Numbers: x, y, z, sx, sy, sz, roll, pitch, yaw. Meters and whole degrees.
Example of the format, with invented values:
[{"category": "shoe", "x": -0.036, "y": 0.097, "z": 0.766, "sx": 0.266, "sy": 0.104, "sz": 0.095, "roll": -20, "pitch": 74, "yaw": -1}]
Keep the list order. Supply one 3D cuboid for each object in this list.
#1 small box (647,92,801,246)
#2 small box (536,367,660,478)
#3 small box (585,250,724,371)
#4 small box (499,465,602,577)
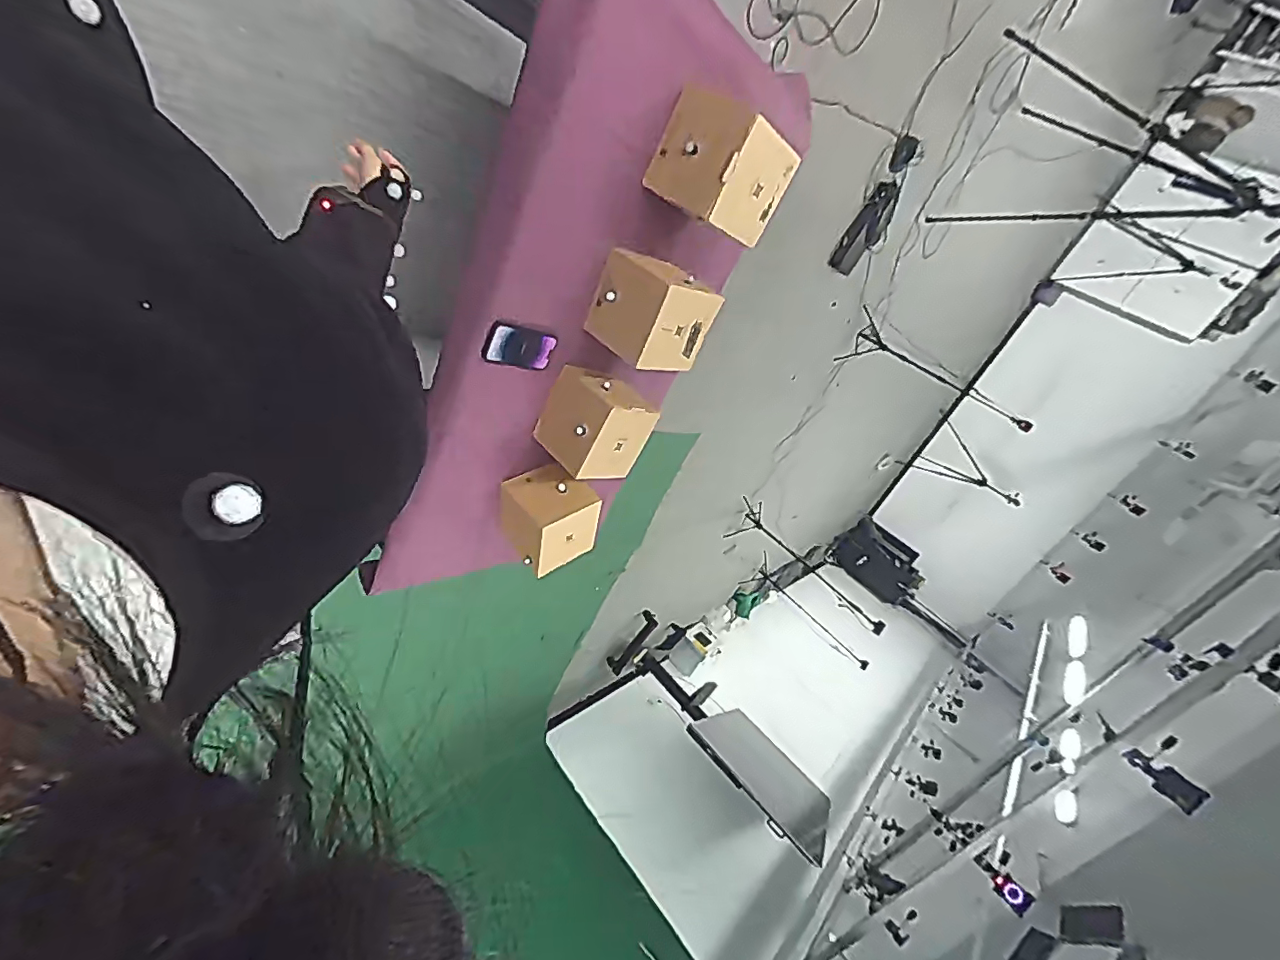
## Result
[{"category": "small box", "x": 0.143, "y": -0.544, "z": 0.949, "sx": 0.179, "sy": 0.176, "sz": 0.168, "roll": -4, "pitch": 130, "yaw": -52}, {"category": "small box", "x": -0.095, "y": -0.122, "z": 1.159, "sx": 0.168, "sy": 0.176, "sz": 0.179, "roll": -1, "pitch": 127, "yaw": -53}, {"category": "small box", "x": 0.025, "y": -0.330, "z": 1.060, "sx": 0.179, "sy": 0.176, "sz": 0.168, "roll": -10, "pitch": 134, "yaw": -48}, {"category": "small box", "x": -0.213, "y": 0.086, "z": 1.258, "sx": 0.168, "sy": 0.176, "sz": 0.179, "roll": -26, "pitch": 146, "yaw": -36}]
